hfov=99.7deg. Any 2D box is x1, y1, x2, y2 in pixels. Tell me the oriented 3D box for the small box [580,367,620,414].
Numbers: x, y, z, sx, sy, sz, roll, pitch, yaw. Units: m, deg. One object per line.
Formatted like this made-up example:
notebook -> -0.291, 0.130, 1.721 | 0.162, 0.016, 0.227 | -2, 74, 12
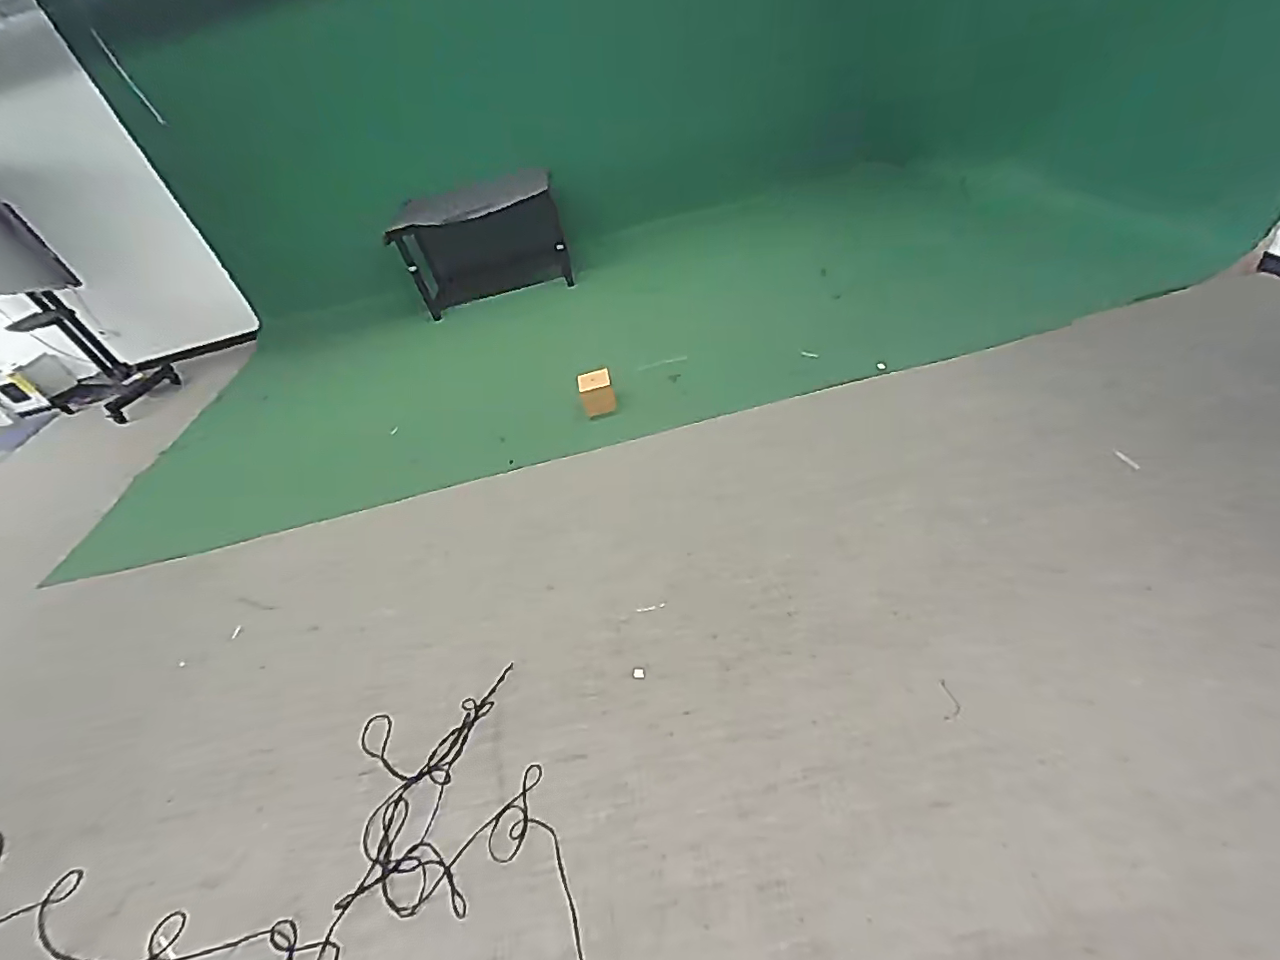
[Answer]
small box -> -0.212, -0.468, 2.862 | 0.168, 0.176, 0.179 | -15, 39, 2
